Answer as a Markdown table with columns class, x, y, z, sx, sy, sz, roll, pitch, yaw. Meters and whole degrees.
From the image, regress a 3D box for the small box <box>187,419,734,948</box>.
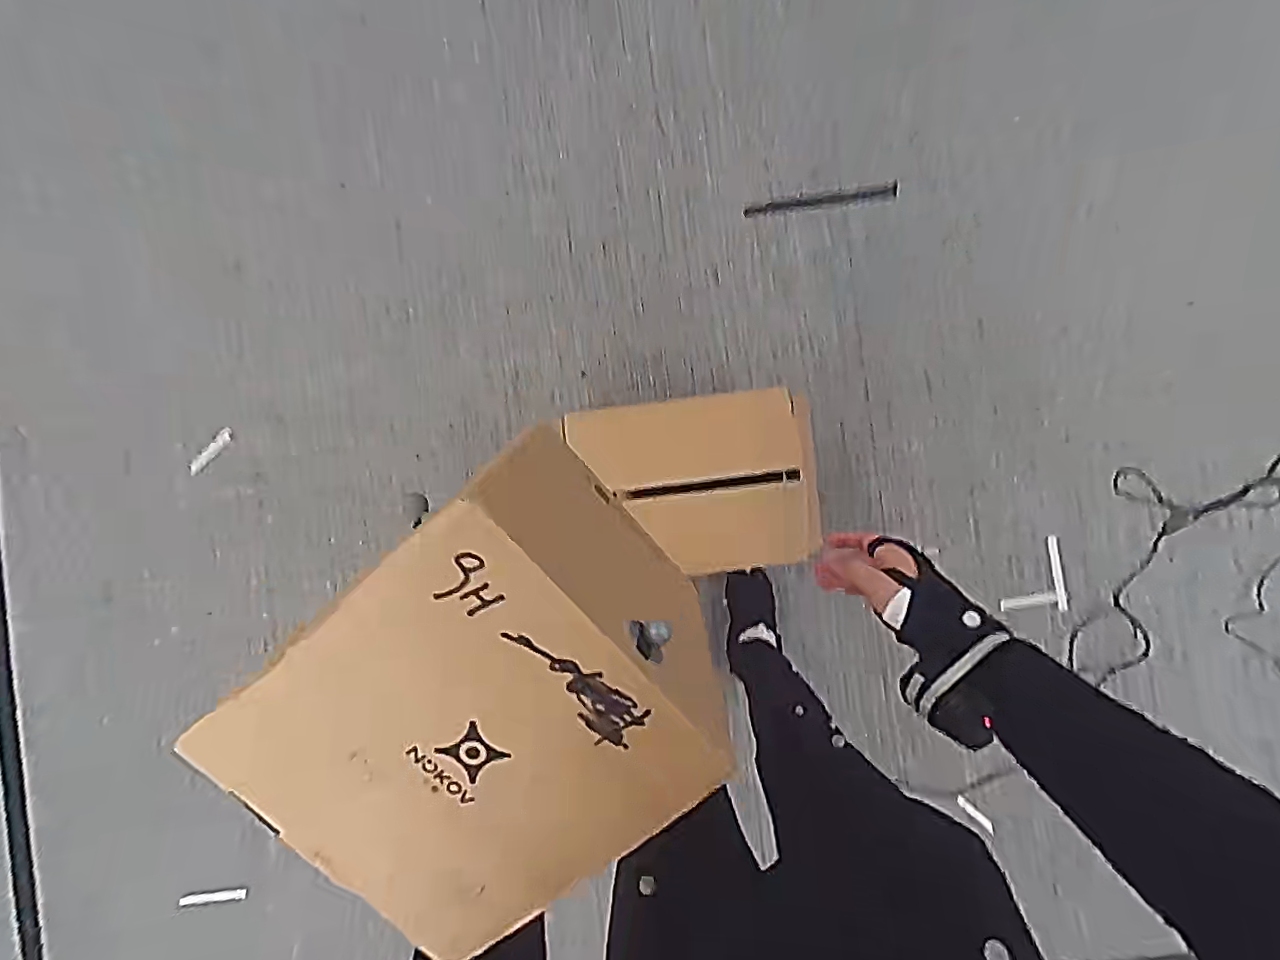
| class | x | y | z | sx | sy | sz | roll | pitch | yaw |
| --- | --- | --- | --- | --- | --- | --- | --- | --- | --- |
| small box | -0.073 | 0.089 | 0.302 | 0.179 | 0.176 | 0.168 | -39 | 102 | 11 |
